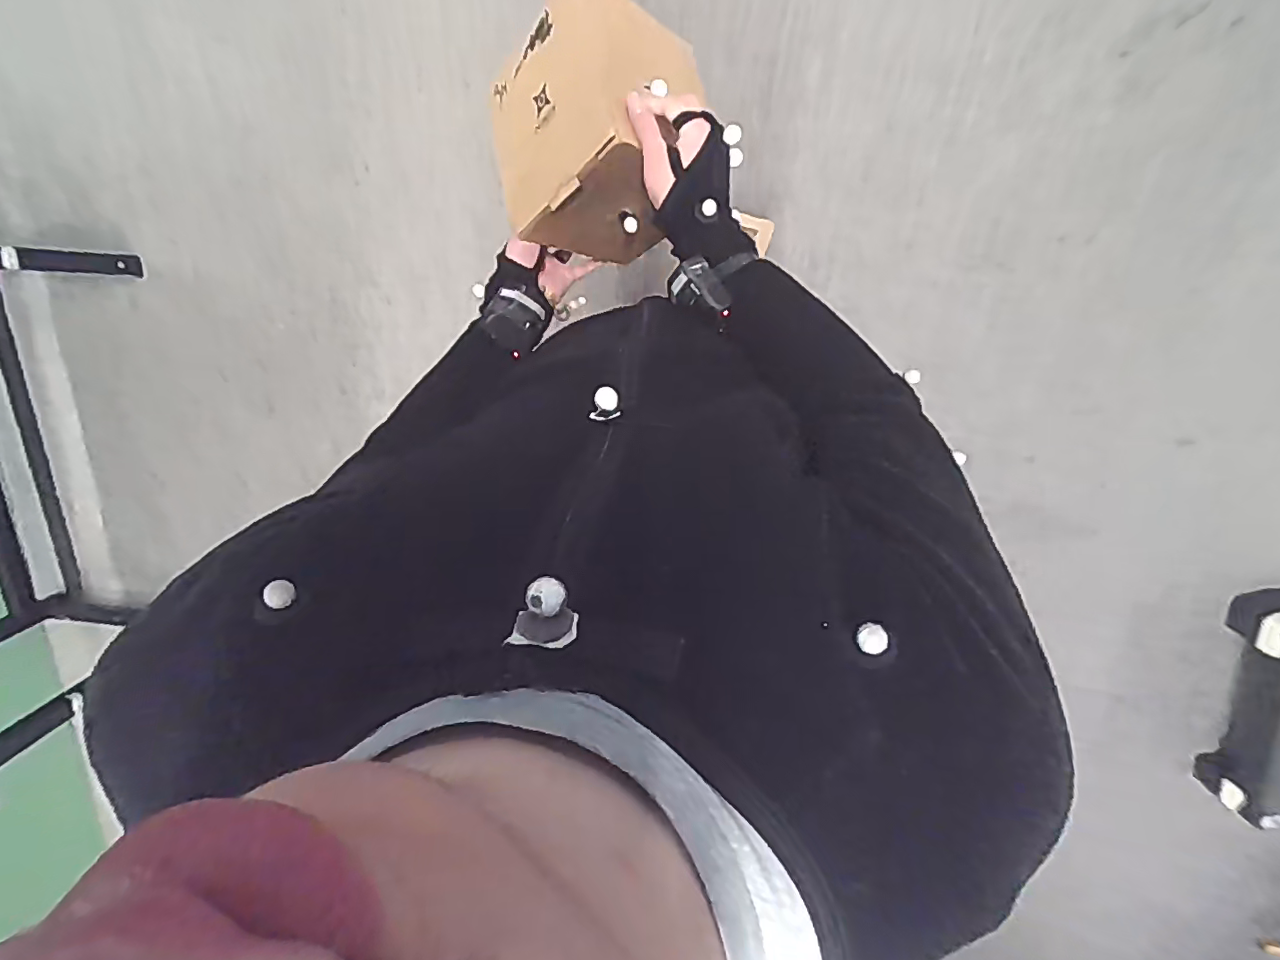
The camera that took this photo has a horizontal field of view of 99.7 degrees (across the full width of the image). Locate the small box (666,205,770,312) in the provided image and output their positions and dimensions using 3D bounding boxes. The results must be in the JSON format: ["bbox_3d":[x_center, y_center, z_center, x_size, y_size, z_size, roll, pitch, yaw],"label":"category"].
[{"bbox_3d":[0.162,-0.479,1.177,0.168,0.176,0.179,19,109,-1],"label":"small box"}]

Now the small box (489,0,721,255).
[{"bbox_3d":[-0.034,-0.367,0.591,0.168,0.176,0.179,-16,86,42],"label":"small box"}]
